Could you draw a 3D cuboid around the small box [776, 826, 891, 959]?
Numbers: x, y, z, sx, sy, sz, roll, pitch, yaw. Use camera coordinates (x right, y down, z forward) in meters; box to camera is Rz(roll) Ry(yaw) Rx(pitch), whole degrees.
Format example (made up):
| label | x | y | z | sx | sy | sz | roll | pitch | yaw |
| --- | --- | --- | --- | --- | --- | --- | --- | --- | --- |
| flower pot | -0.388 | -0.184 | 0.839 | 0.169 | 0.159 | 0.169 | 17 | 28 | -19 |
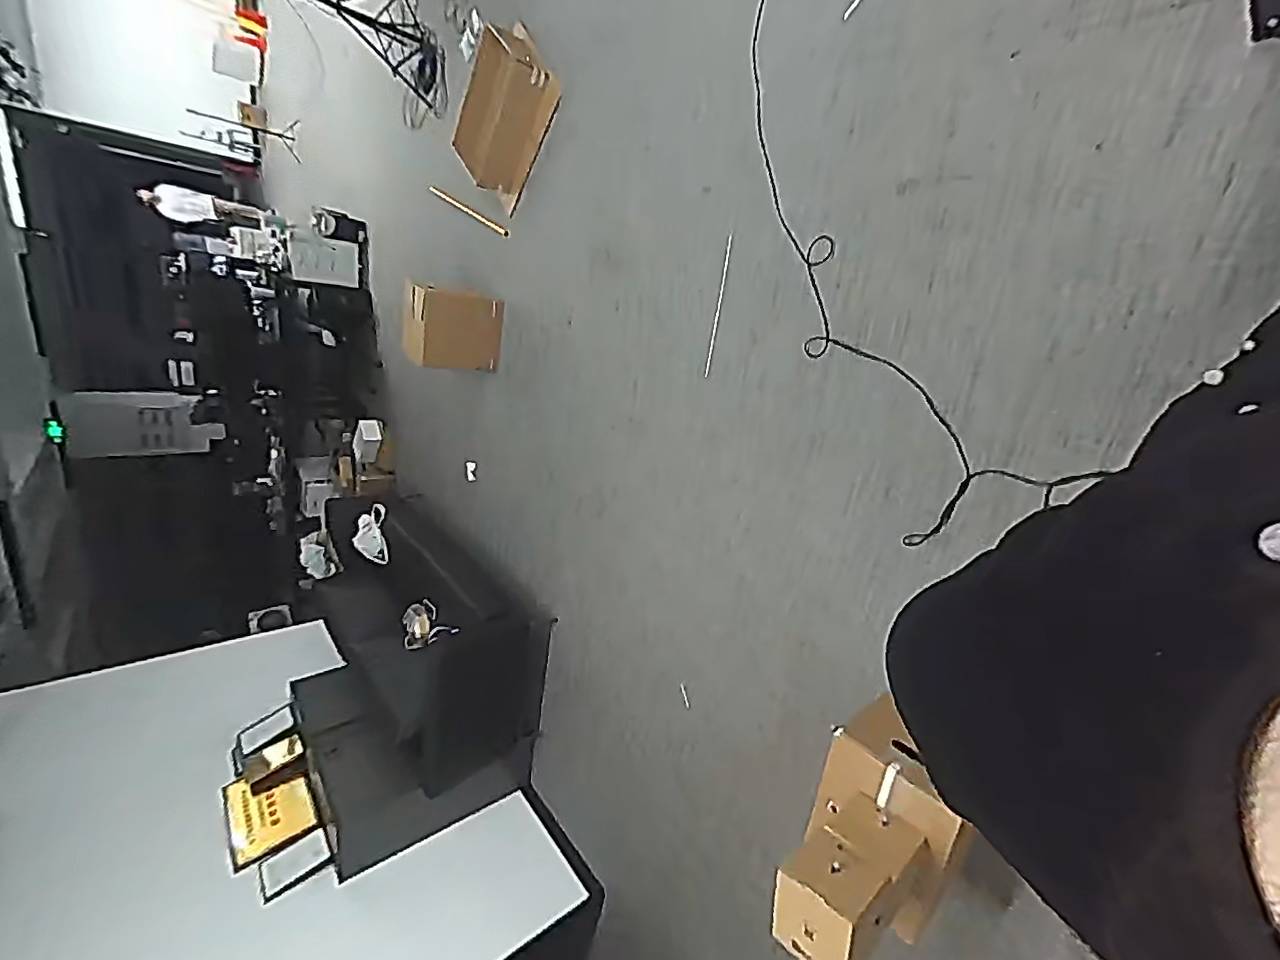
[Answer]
| label | x | y | z | sx | sy | sz | roll | pitch | yaw |
| --- | --- | --- | --- | --- | --- | --- | --- | --- | --- |
| small box | 0.415 | 0.893 | 1.152 | 0.168 | 0.176 | 0.179 | 14 | 106 | 46 |
